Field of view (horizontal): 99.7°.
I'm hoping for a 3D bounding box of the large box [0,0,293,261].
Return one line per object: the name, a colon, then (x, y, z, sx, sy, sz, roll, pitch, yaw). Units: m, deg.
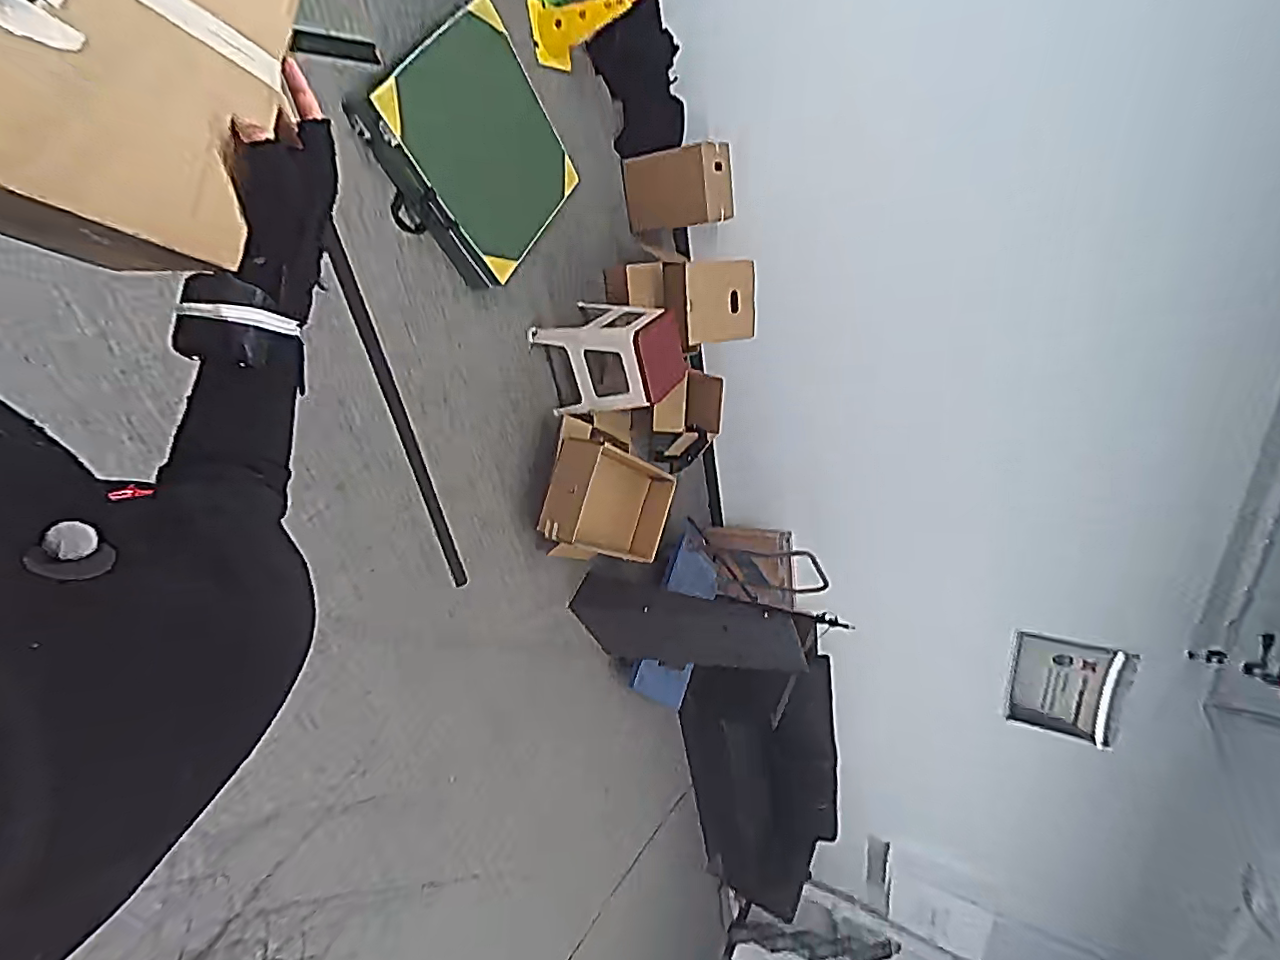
large box: (-0.522, -0.374, 0.347, 0.408, 0.320, 0.320, 11, 94, -58)
